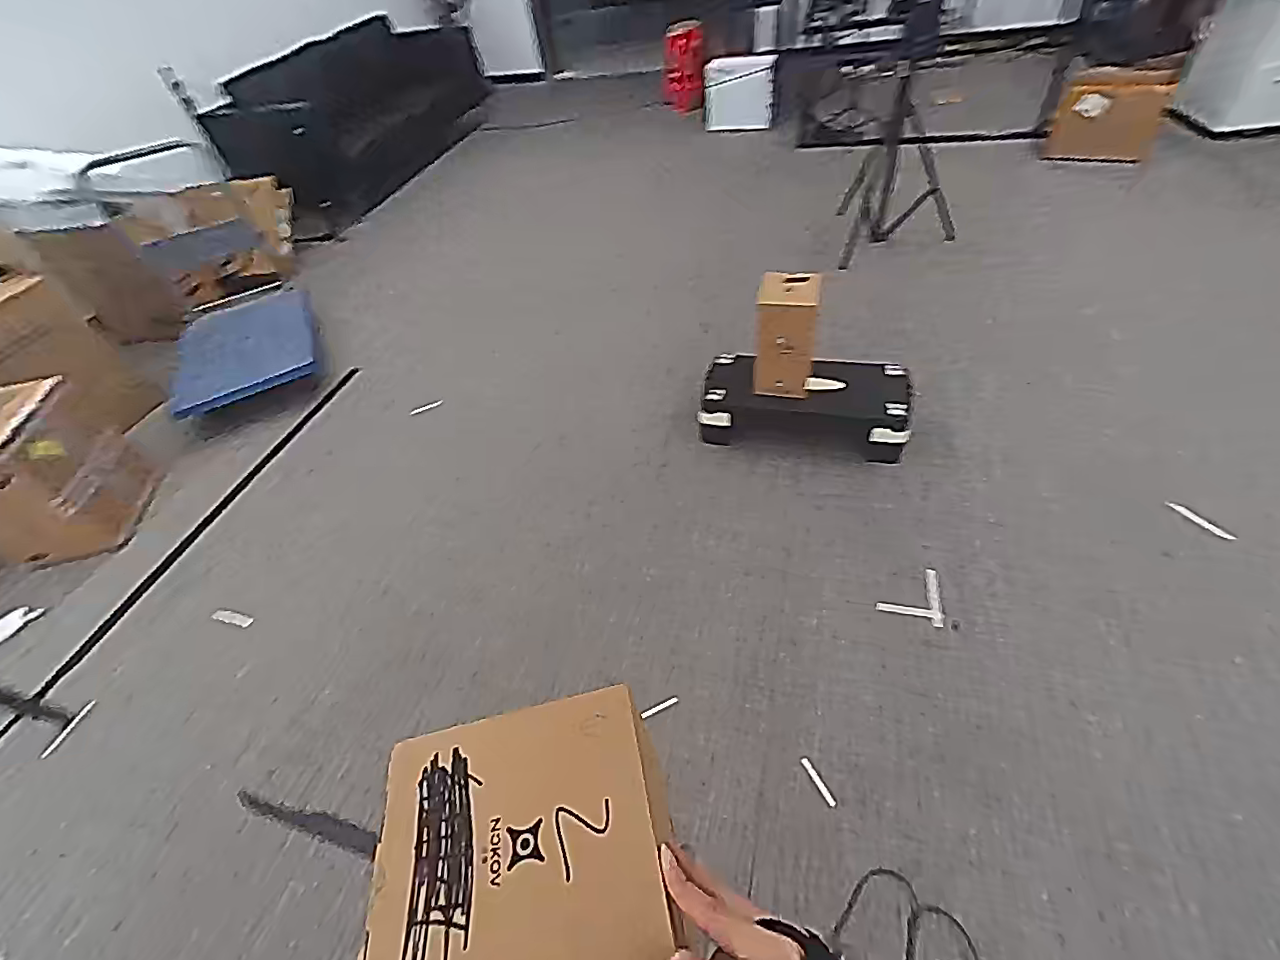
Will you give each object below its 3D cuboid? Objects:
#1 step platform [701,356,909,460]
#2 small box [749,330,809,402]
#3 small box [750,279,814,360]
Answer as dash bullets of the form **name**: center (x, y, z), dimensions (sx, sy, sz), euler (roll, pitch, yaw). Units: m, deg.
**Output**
- **step platform**: center (0.559, -0.266, 1.886), dimensions (0.684, 0.204, 0.286), euler (6, 49, 16)
- **small box**: center (0.454, -0.379, 1.770), dimensions (0.168, 0.176, 0.179), euler (8, 50, 17)
- **small box**: center (0.432, -0.492, 1.652), dimensions (0.168, 0.176, 0.179), euler (8, 50, 16)
